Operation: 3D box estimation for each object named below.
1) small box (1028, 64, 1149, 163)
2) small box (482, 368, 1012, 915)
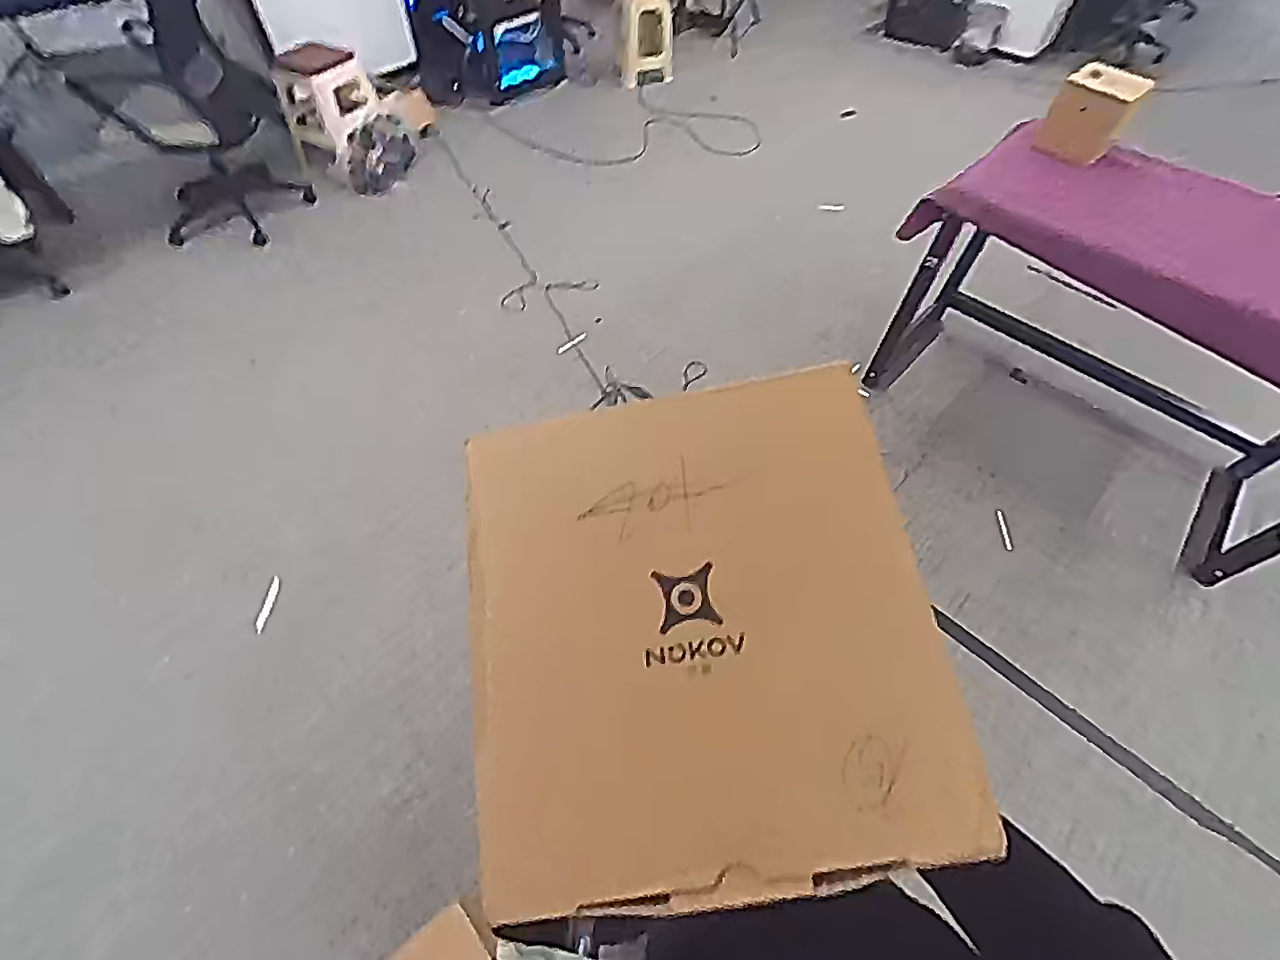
[{"bbox_3d":[1.249,-1.027,1.521,0.168,0.176,0.179,-38,66,-22],"label":"small box"},{"bbox_3d":[0.034,0.074,0.273,0.168,0.176,0.179,-11,69,4],"label":"small box"}]
